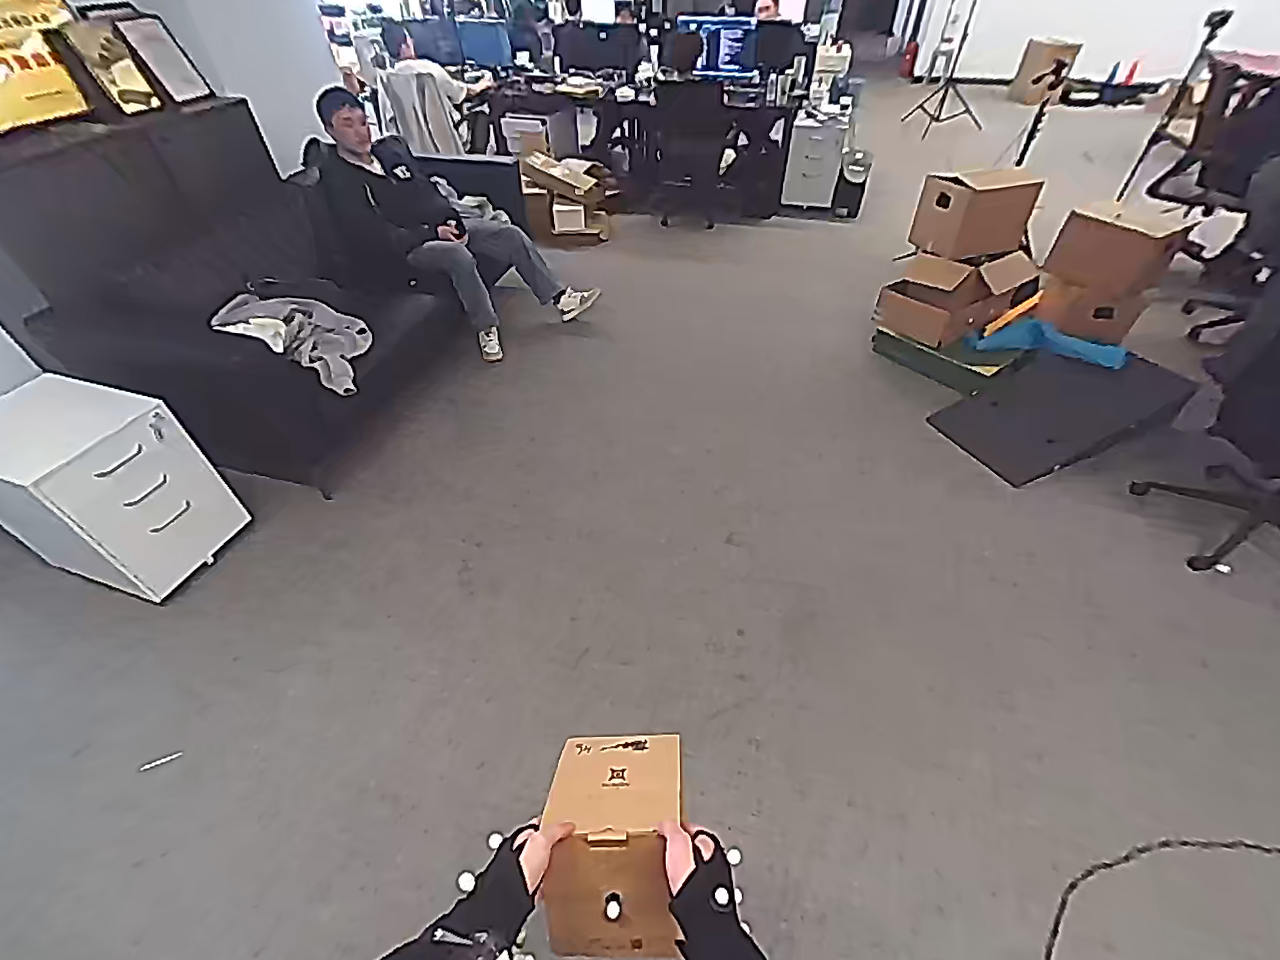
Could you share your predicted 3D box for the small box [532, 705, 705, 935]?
[{"bbox_3d":[-0.030,0.441,0.723,0.179,0.176,0.168,-10,9,-25],"label":"small box"}]
